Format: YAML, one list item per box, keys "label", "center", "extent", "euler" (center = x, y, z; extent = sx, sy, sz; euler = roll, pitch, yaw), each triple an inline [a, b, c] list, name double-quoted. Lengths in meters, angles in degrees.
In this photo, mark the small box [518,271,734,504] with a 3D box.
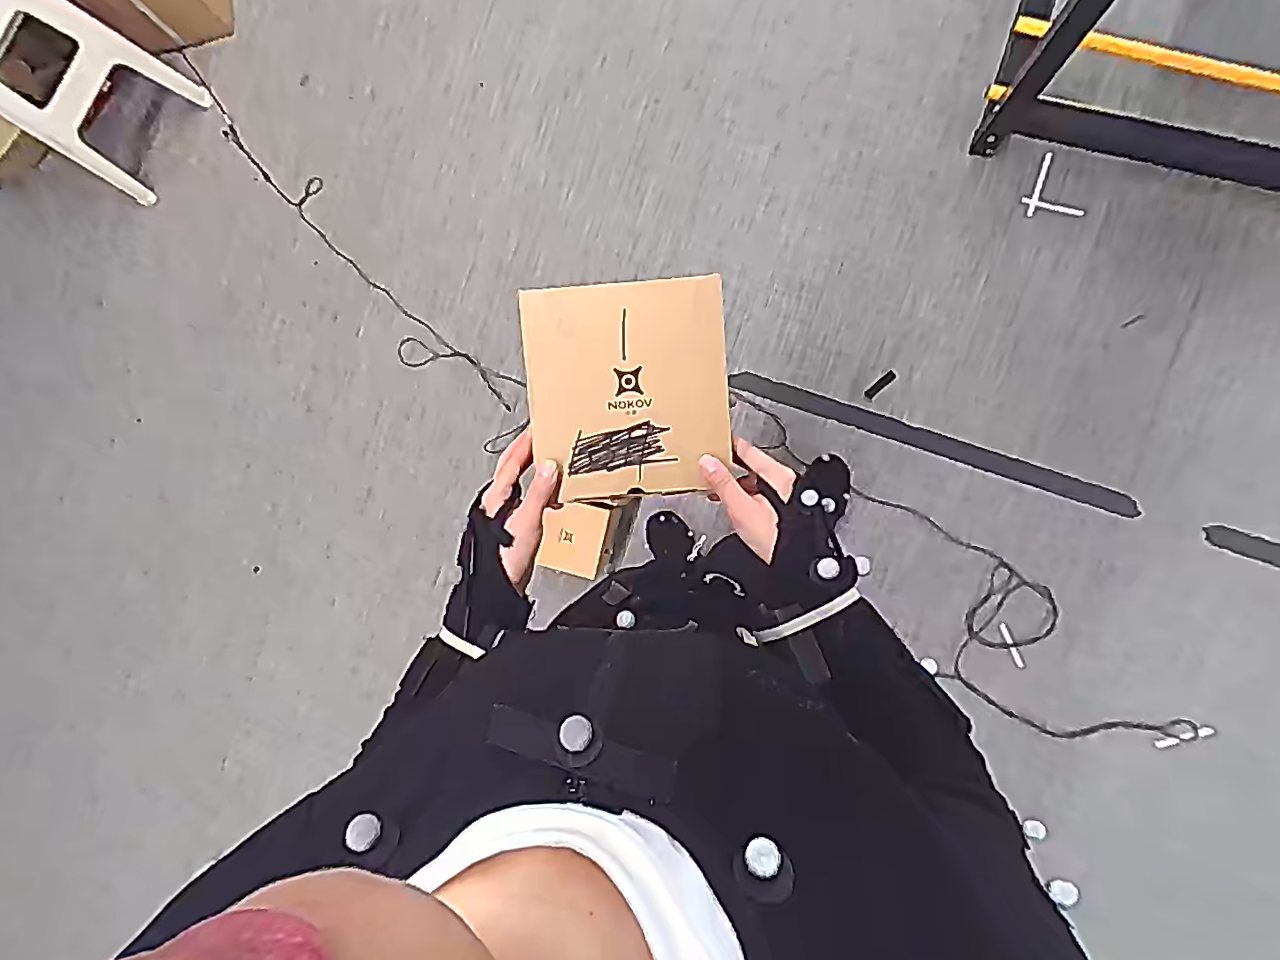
- label: "small box"
  center: [-0.008, -0.080, 0.508]
  extent: [0.168, 0.176, 0.179]
  euler: [-4, 96, 0]
